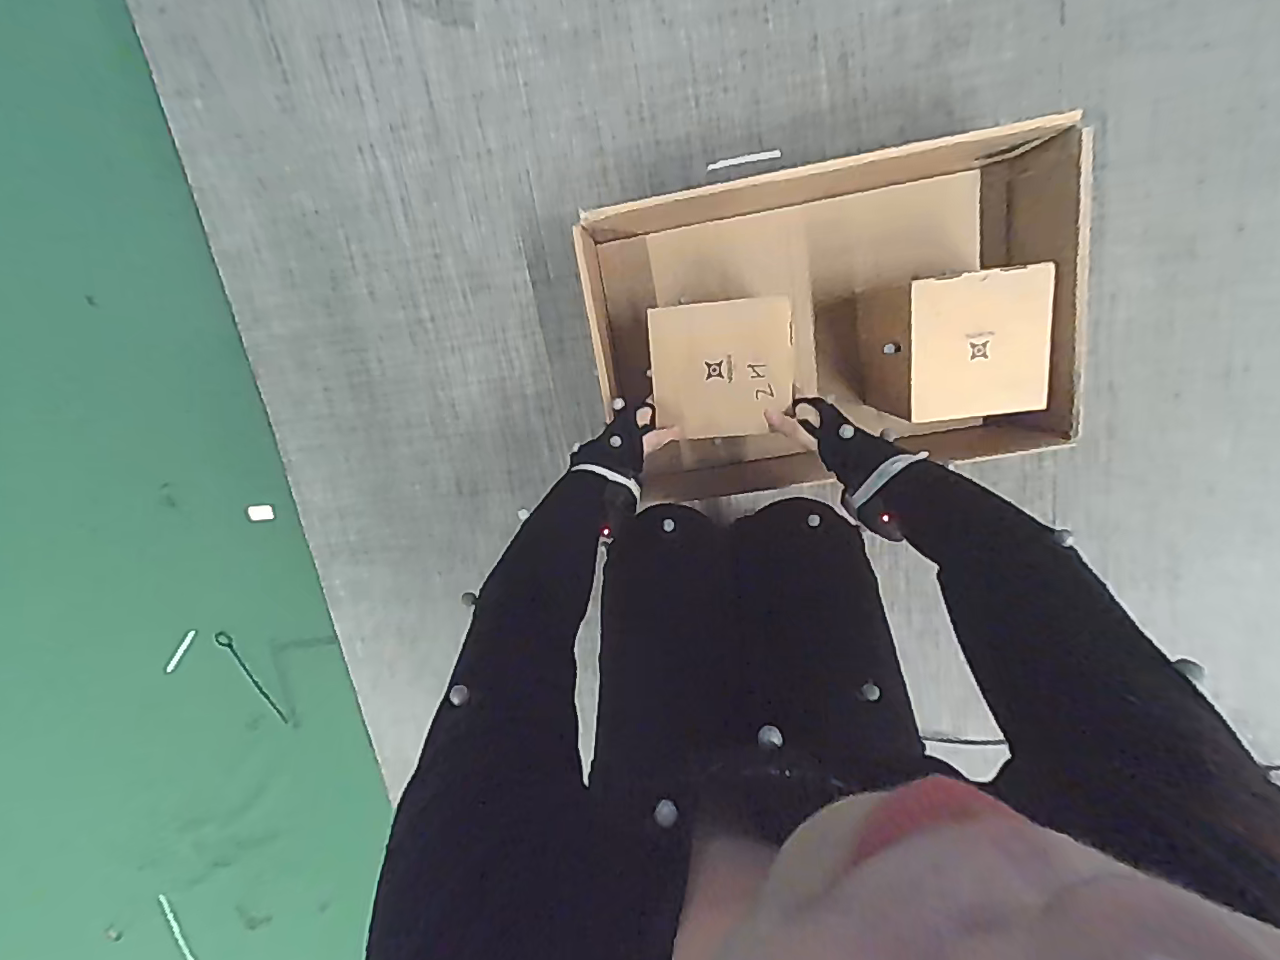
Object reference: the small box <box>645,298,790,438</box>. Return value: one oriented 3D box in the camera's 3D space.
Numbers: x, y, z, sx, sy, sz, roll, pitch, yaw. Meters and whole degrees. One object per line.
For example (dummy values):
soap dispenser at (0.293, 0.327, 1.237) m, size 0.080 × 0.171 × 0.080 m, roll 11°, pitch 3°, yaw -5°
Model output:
small box at (0.106, -0.150, 0.750) m, size 0.179 × 0.176 × 0.168 m, roll -3°, pitch 101°, yaw 7°
